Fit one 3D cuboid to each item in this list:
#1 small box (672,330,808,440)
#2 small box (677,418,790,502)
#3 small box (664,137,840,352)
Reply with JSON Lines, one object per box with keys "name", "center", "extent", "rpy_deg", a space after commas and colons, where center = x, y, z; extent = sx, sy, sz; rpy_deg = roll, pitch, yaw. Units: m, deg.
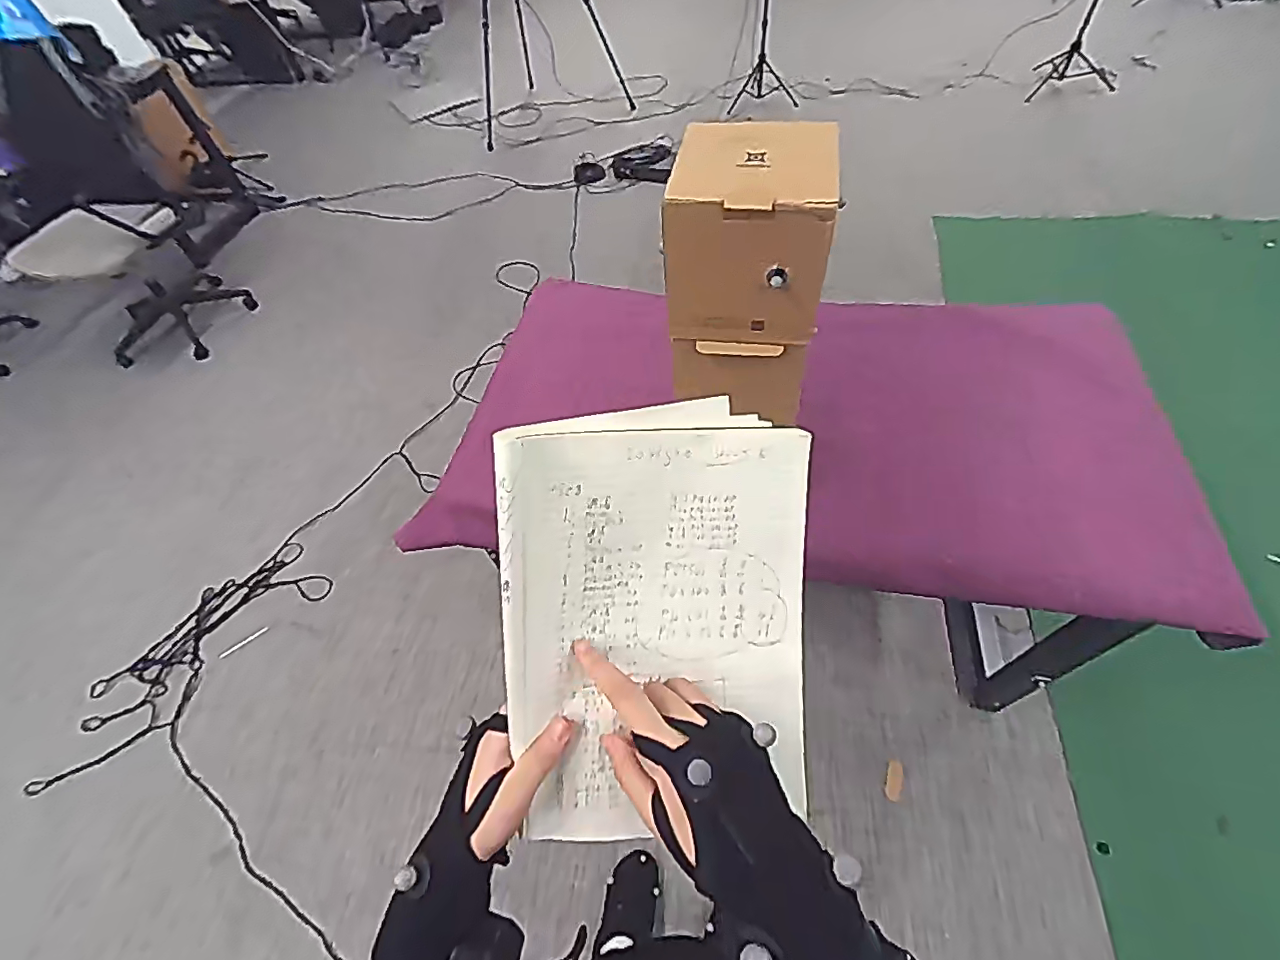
{"name": "small box", "center": [0.144, -0.175, 0.757], "extent": [0.168, 0.176, 0.179], "rpy_deg": [7, 53, 11]}
{"name": "small box", "center": [0.160, -0.082, 0.892], "extent": [0.168, 0.176, 0.179], "rpy_deg": [7, 55, 11]}
{"name": "small box", "center": [0.128, -0.268, 0.624], "extent": [0.168, 0.176, 0.179], "rpy_deg": [8, 54, 11]}
